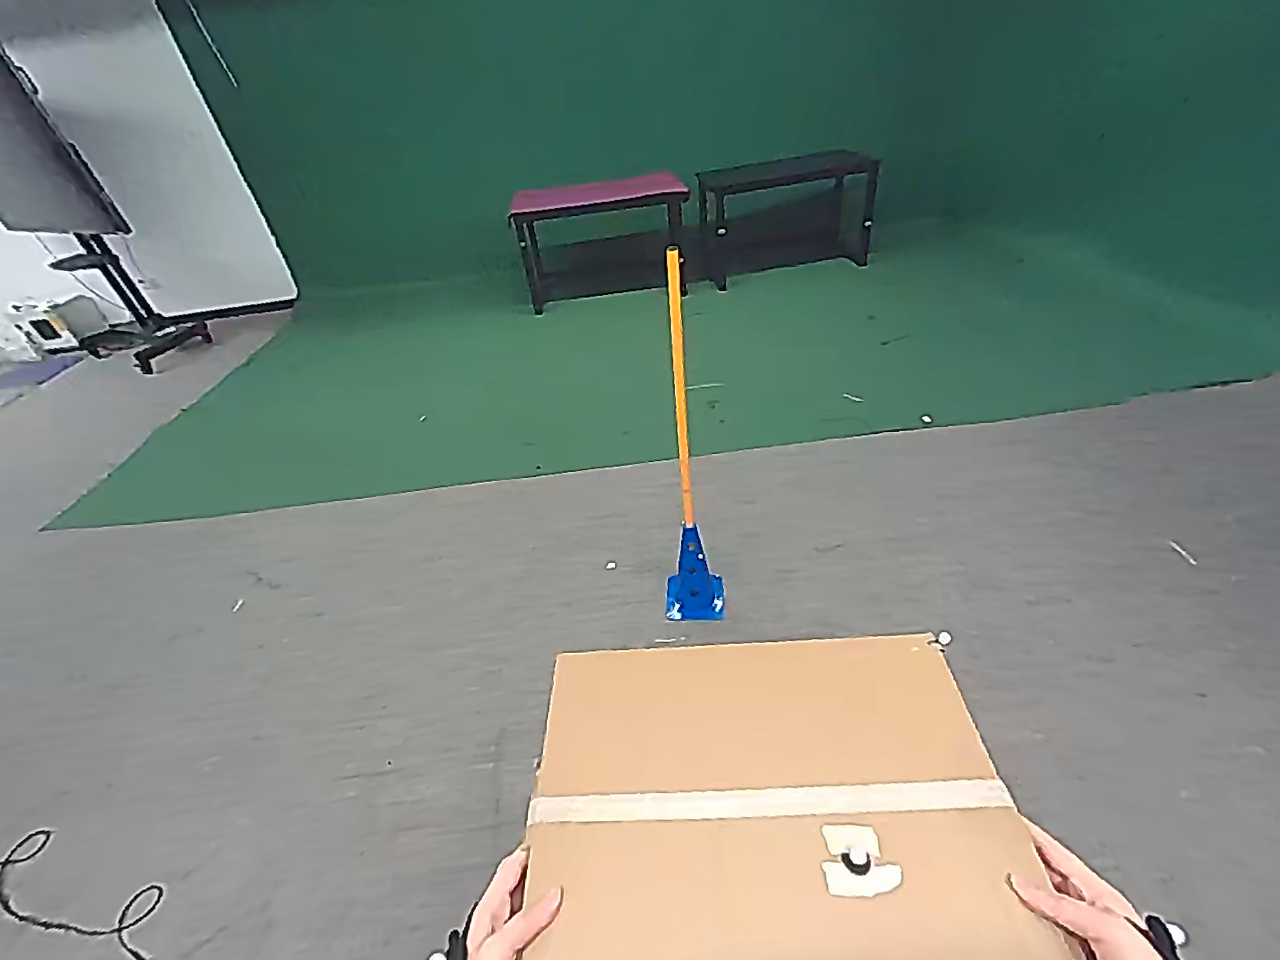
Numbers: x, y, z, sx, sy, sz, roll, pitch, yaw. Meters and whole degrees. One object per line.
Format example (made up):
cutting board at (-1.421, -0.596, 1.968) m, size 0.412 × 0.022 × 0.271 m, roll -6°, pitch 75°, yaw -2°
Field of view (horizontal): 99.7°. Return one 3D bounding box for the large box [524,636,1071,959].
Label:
large box at (0.120, 0.394, 0.574) m, size 0.408 × 0.320 × 0.320 m, roll -4°, pitch 41°, yaw 4°

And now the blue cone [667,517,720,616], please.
blue cone at (0.174, 0.282, 1.834) m, size 0.193 × 0.380 × 0.192 m, roll -1°, pitch 38°, yaw 8°
